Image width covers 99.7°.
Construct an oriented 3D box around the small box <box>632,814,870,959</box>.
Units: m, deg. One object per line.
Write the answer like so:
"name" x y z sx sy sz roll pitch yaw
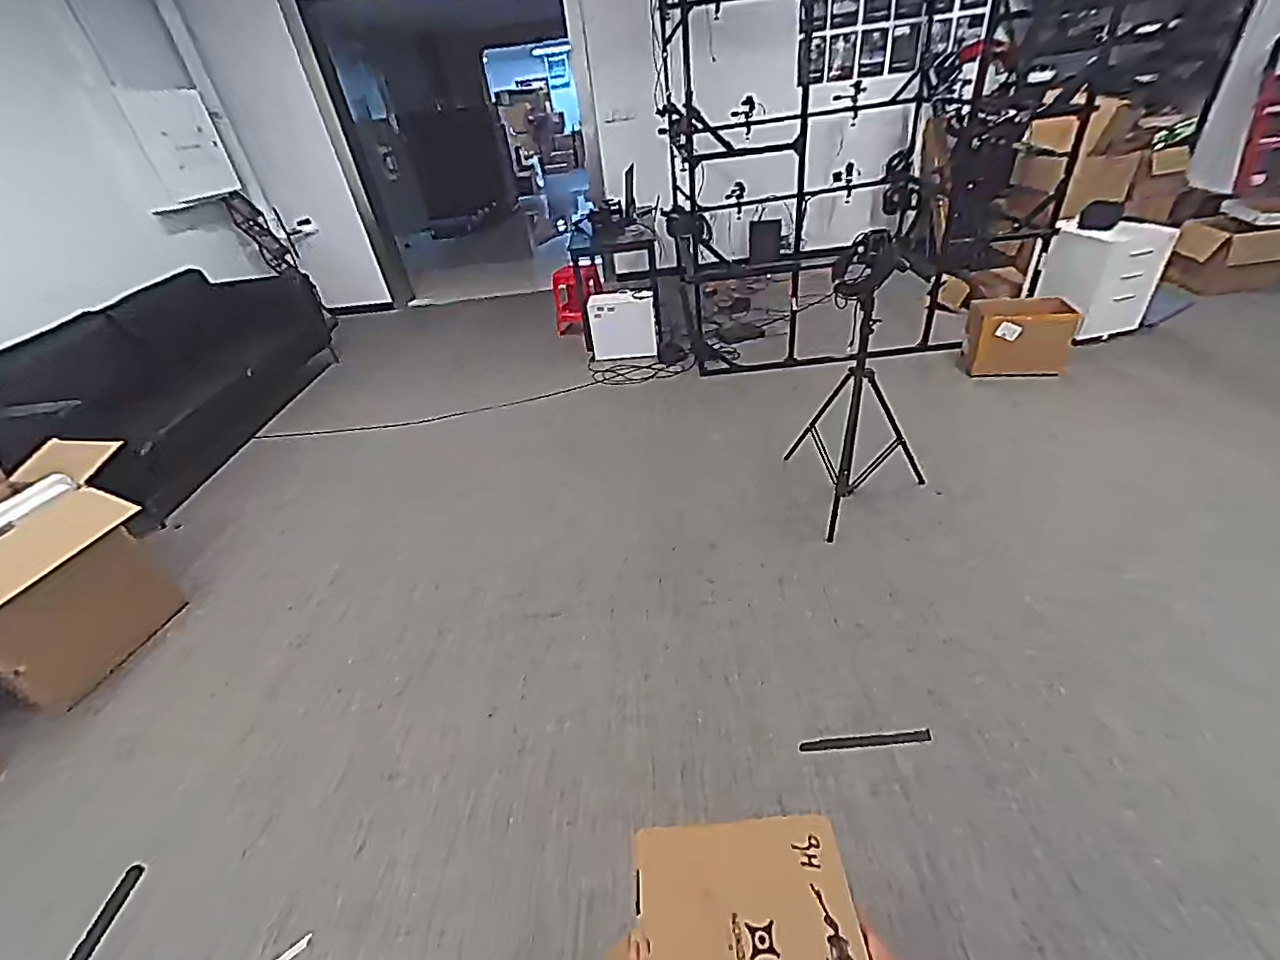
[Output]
"small box" 0.089 0.414 0.463 0.179 0.176 0.168 -4 40 -1
